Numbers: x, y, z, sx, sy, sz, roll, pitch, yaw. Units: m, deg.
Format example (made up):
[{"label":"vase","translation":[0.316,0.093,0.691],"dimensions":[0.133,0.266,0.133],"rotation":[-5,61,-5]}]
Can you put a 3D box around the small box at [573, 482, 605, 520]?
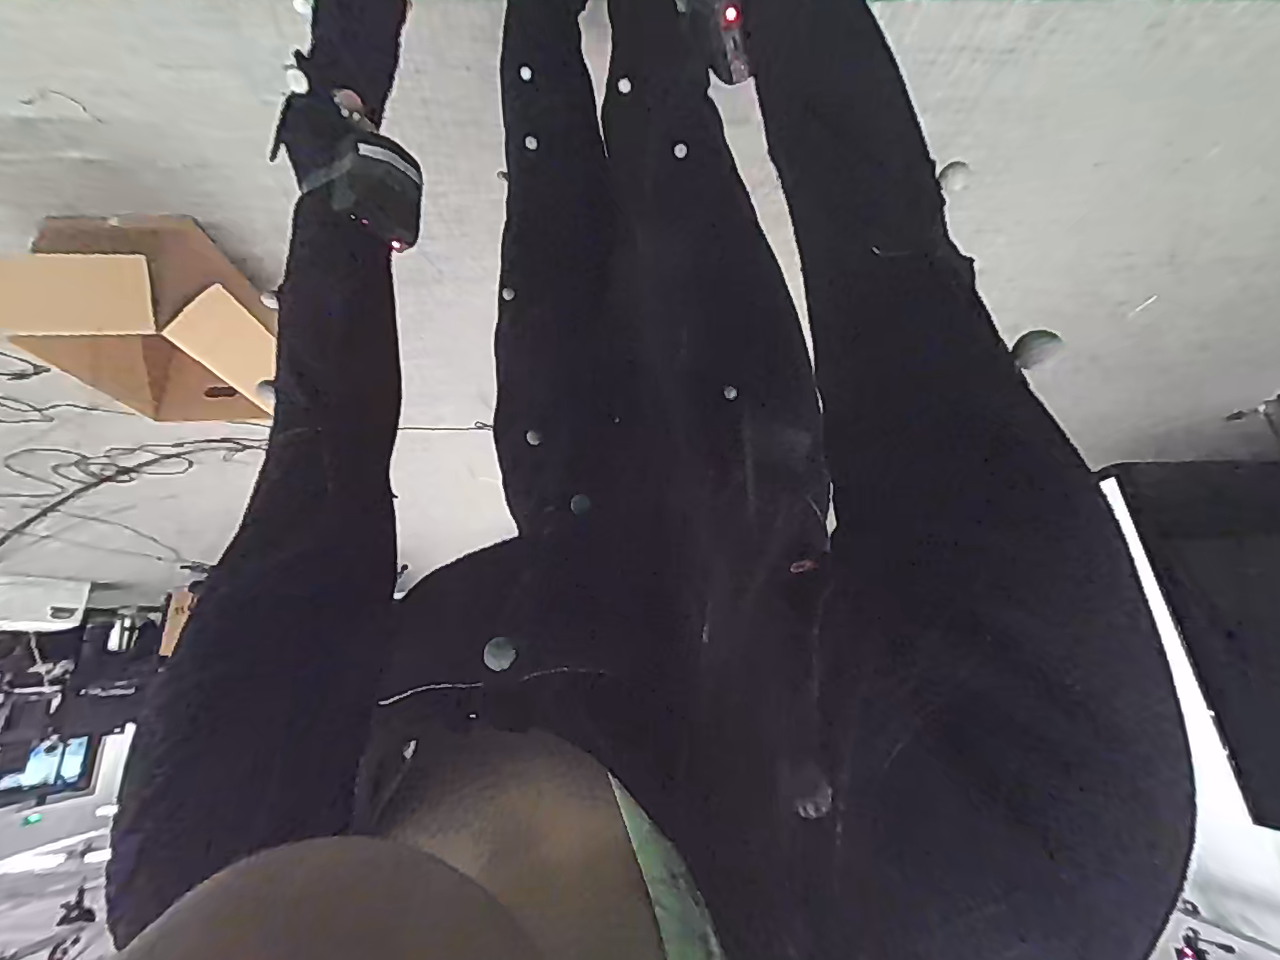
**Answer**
[{"label":"small box","translation":[-0.294,0.118,3.097],"dimensions":[0.179,0.176,0.168],"rotation":[-5,160,-3]}]
